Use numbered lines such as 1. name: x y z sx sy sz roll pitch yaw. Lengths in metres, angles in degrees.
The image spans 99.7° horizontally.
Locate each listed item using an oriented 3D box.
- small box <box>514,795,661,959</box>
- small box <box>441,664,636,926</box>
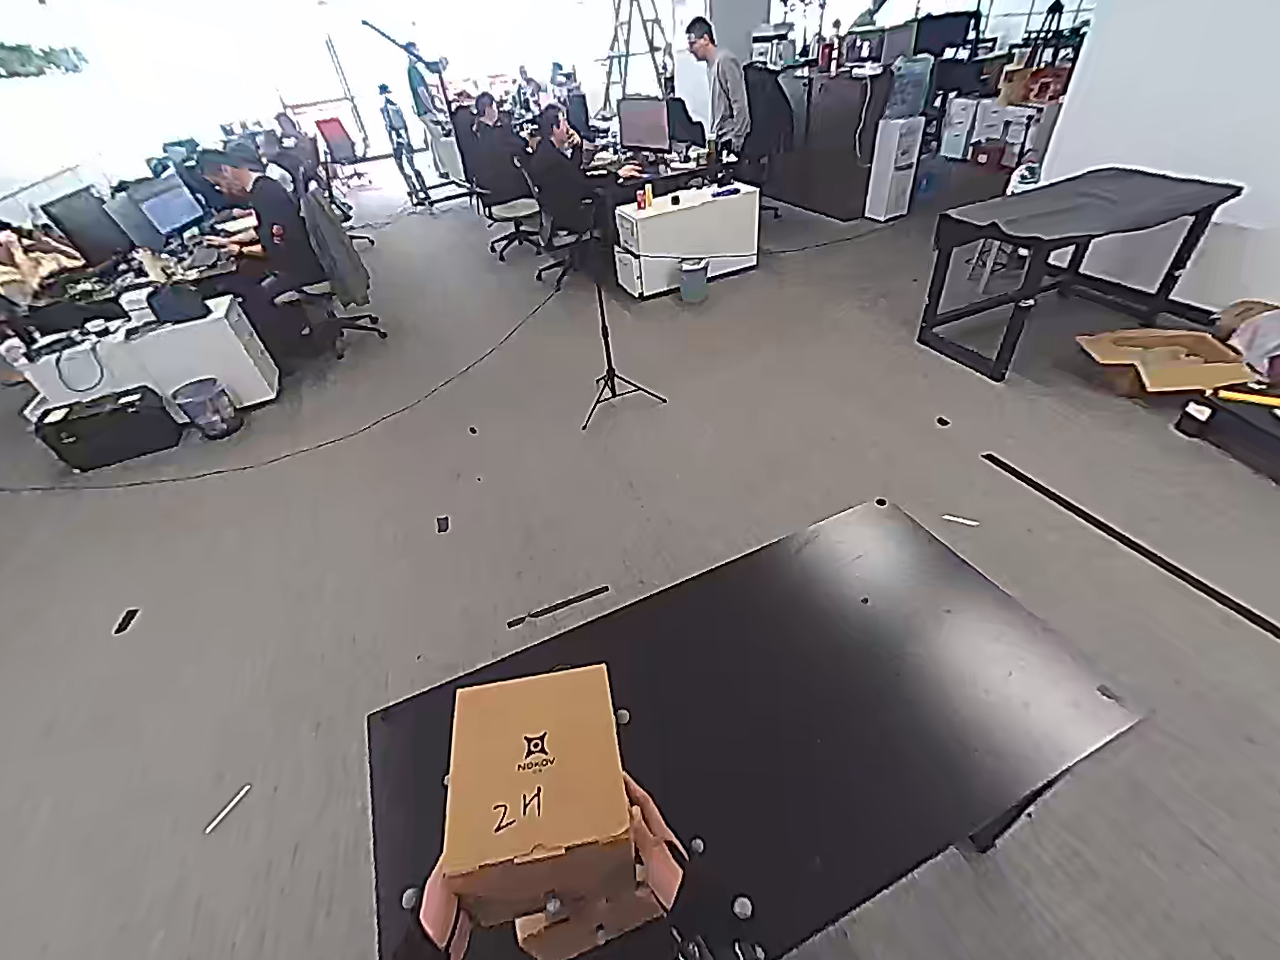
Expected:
1. small box: -0.079 0.502 0.726 0.168 0.176 0.179 -17 41 -11
2. small box: -0.098 0.328 0.573 0.168 0.176 0.179 -7 39 -7
